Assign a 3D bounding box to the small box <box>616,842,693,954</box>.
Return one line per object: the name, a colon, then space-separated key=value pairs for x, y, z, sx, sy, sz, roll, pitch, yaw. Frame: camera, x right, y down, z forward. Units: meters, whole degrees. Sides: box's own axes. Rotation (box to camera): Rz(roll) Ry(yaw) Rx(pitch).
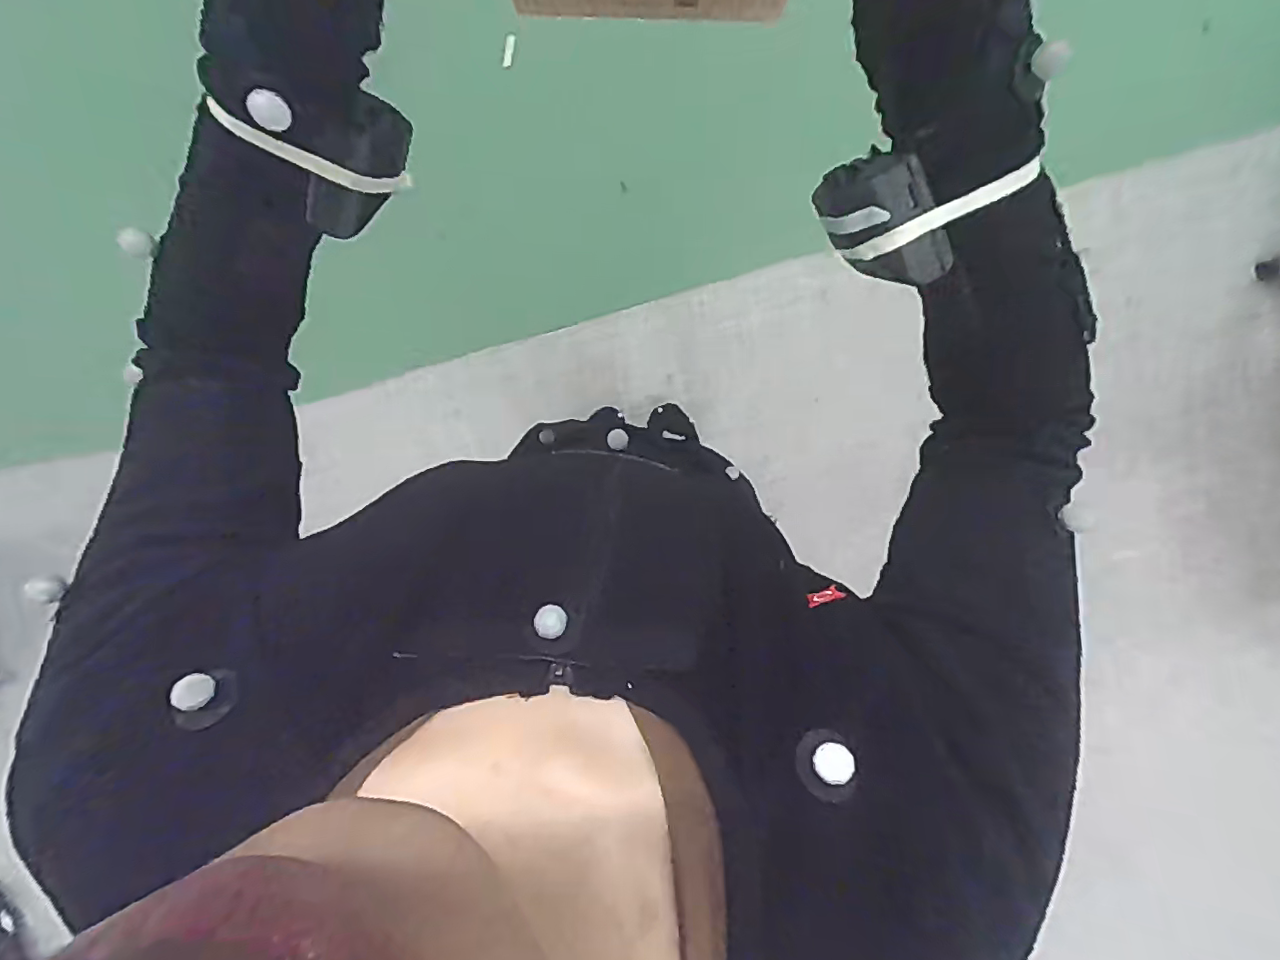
small box: x=0.041 y=1.171 z=1.526 sx=0.179 sy=0.176 sz=0.168 roll=-17 pitch=96 yaw=2
